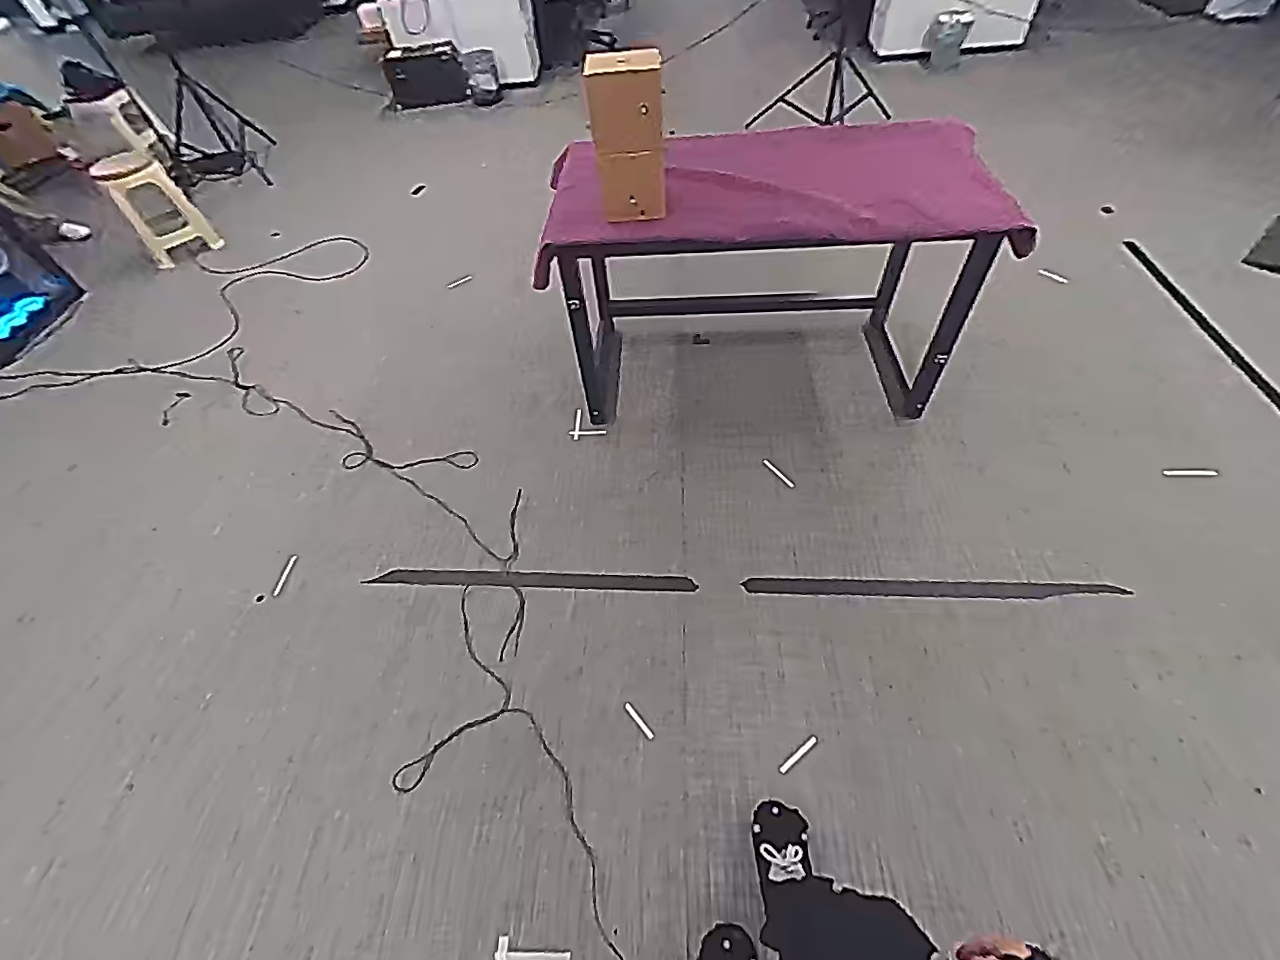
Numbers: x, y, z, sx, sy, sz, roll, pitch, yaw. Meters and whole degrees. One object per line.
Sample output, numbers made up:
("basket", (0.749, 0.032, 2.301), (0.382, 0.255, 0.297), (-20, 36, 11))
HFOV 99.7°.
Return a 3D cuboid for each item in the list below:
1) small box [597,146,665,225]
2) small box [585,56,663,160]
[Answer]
("small box", (-0.020, -0.810, 1.455), (0.168, 0.176, 0.179), (-3, 52, 4))
("small box", (-0.034, -0.911, 1.329), (0.179, 0.176, 0.168), (-4, 50, 3))
